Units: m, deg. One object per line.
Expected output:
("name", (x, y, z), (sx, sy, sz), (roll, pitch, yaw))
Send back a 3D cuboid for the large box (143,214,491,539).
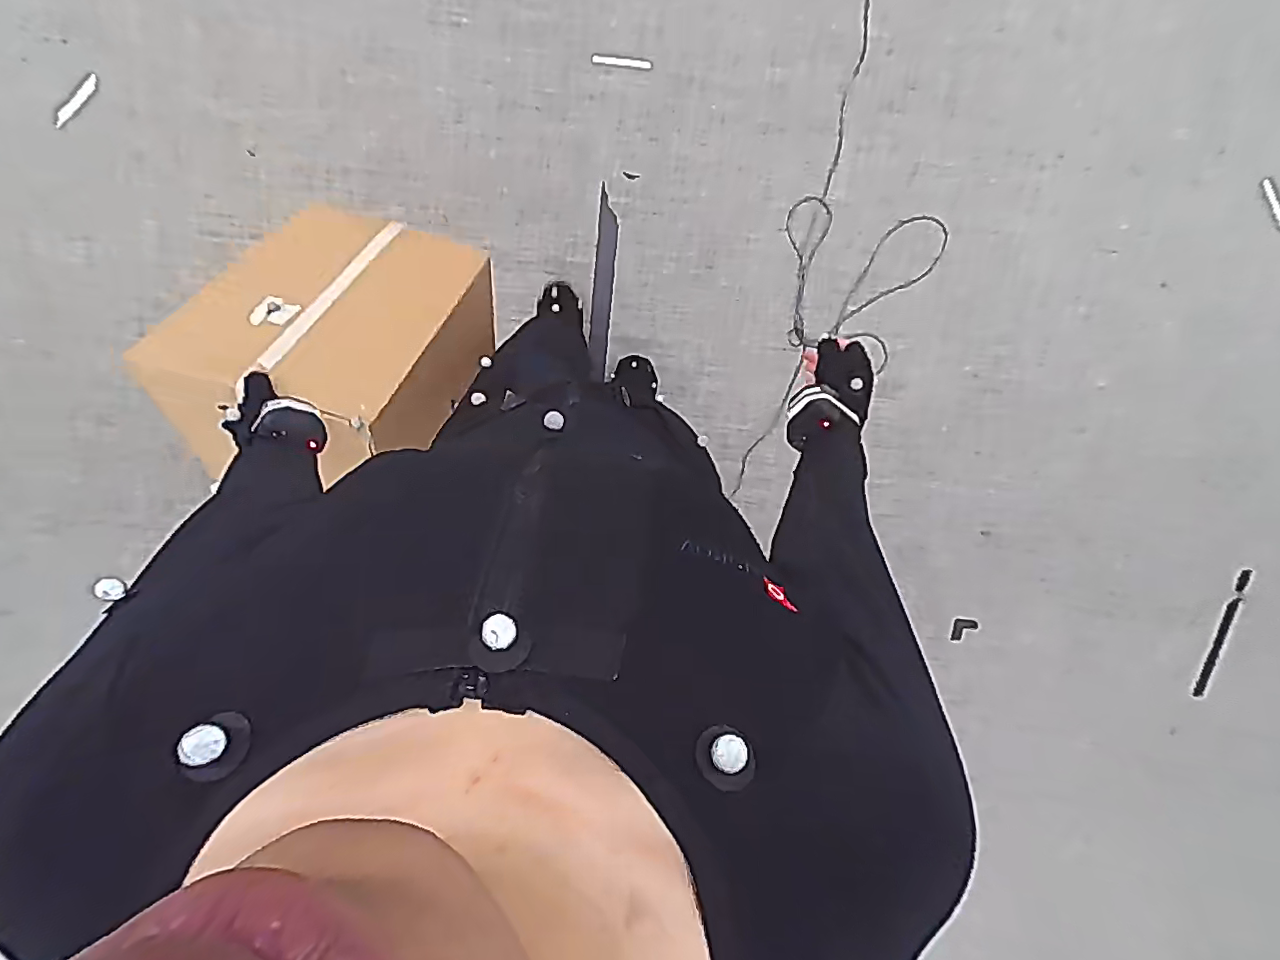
("large box", (-0.473, -0.173, 0.922), (0.320, 0.408, 0.320), (16, 144, 0))
